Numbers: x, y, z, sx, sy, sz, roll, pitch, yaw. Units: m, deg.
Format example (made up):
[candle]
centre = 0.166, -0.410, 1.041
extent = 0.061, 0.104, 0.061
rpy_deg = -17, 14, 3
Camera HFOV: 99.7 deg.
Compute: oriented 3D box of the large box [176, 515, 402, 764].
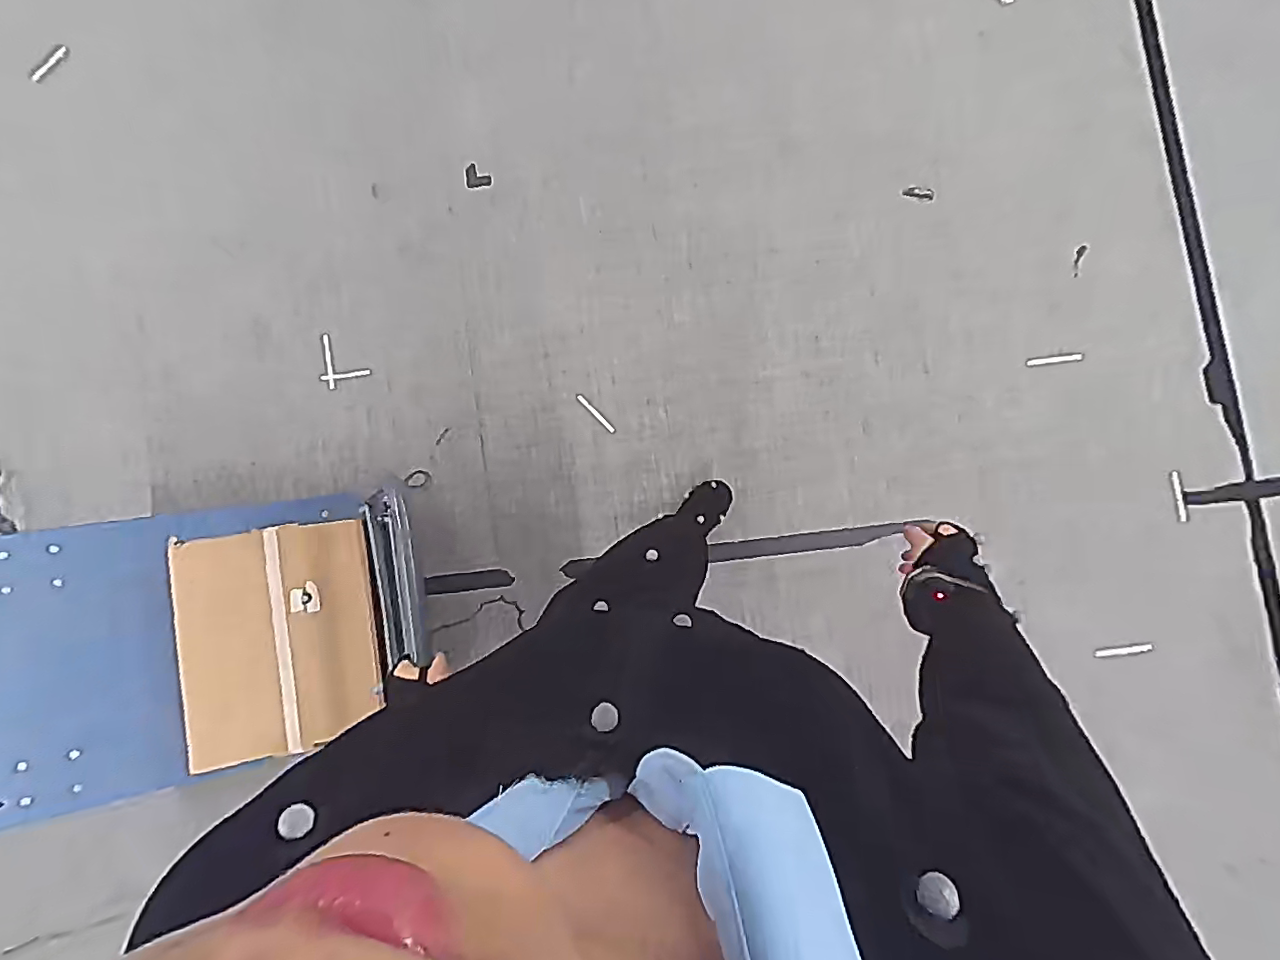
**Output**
[large box]
centre = -0.705, 0.301, 1.143
extent = 0.320, 0.320, 0.408
rpy_deg = -7, 86, -22
